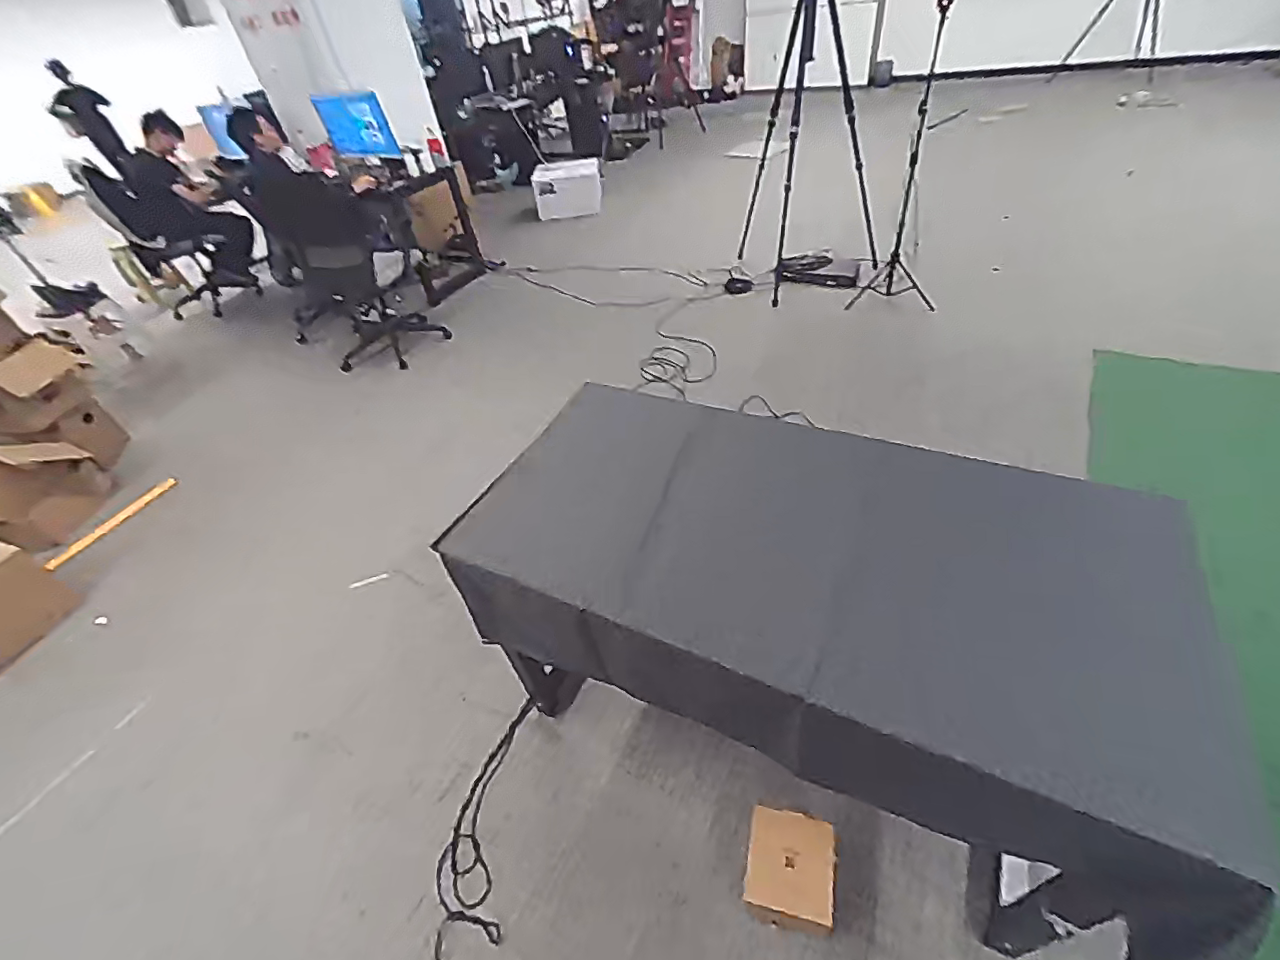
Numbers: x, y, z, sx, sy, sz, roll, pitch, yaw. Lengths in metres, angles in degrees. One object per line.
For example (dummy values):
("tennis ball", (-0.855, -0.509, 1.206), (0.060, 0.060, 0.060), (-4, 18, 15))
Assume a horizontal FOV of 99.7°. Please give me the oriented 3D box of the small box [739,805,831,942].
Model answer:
("small box", (0.300, 0.824, 1.133), (0.168, 0.176, 0.179), (6, 44, 16))
